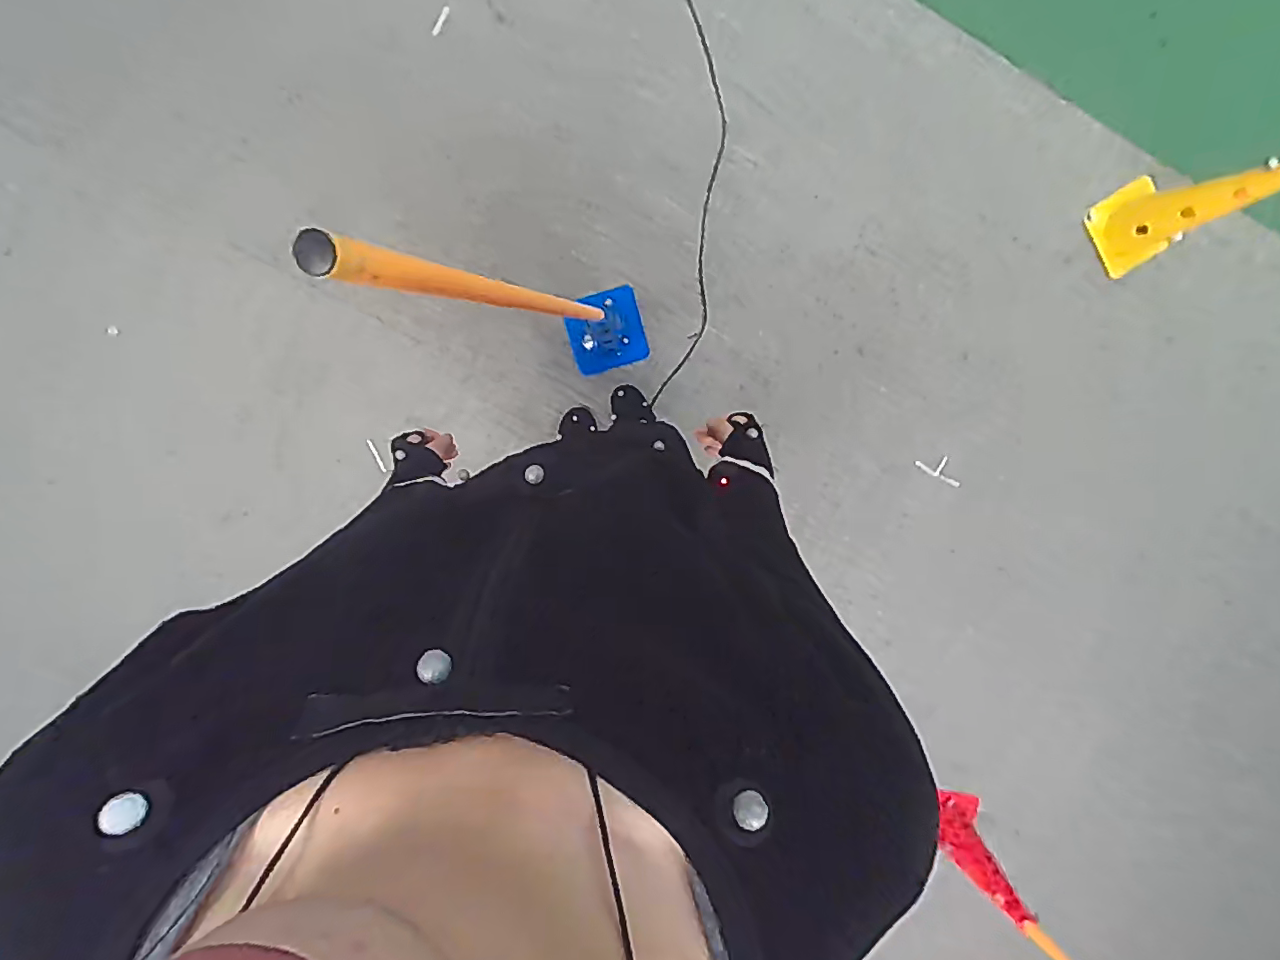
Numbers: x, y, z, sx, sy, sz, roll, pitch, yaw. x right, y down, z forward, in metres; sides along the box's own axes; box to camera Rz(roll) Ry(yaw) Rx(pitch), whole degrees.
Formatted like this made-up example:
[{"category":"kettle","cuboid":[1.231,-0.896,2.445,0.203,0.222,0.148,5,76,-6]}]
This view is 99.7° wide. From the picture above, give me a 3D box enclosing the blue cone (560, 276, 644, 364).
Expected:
[{"category":"blue cone","cuboid":[-0.094,-0.381,1.252,0.193,0.380,0.192,-17,101,3]}]
